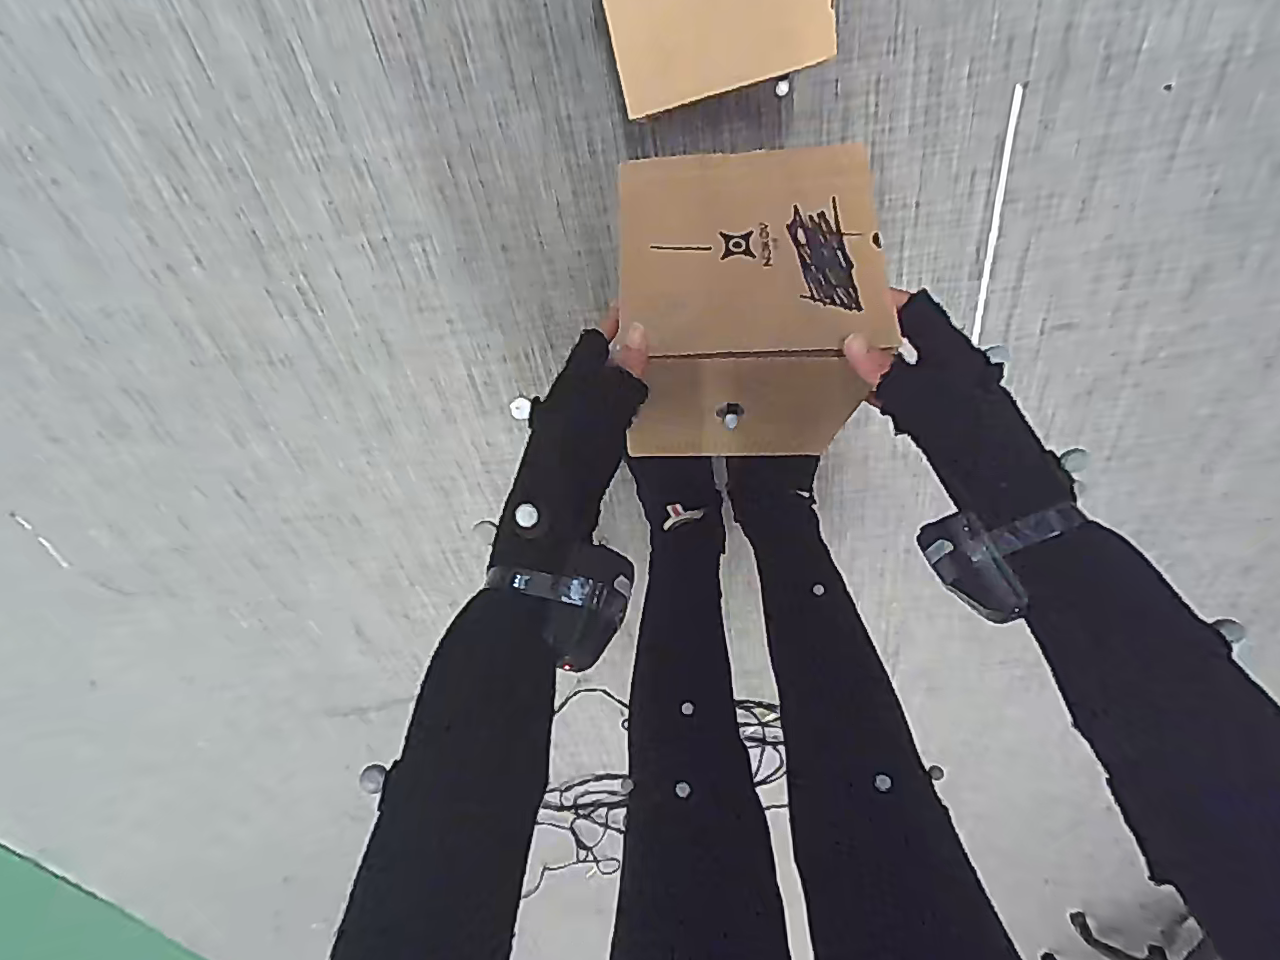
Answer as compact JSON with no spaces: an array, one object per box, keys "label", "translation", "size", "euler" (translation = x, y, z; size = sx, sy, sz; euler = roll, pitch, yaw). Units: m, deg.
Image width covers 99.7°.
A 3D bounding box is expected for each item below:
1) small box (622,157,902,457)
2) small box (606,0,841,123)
[{"label":"small box","translation":[0.077,-0.123,0.434],"size":[0.179,0.168,0.176],"euler":[-1,161,2]},{"label":"small box","translation":[0.060,-0.430,0.473],"size":[0.179,0.176,0.168],"euler":[-12,122,8]}]
